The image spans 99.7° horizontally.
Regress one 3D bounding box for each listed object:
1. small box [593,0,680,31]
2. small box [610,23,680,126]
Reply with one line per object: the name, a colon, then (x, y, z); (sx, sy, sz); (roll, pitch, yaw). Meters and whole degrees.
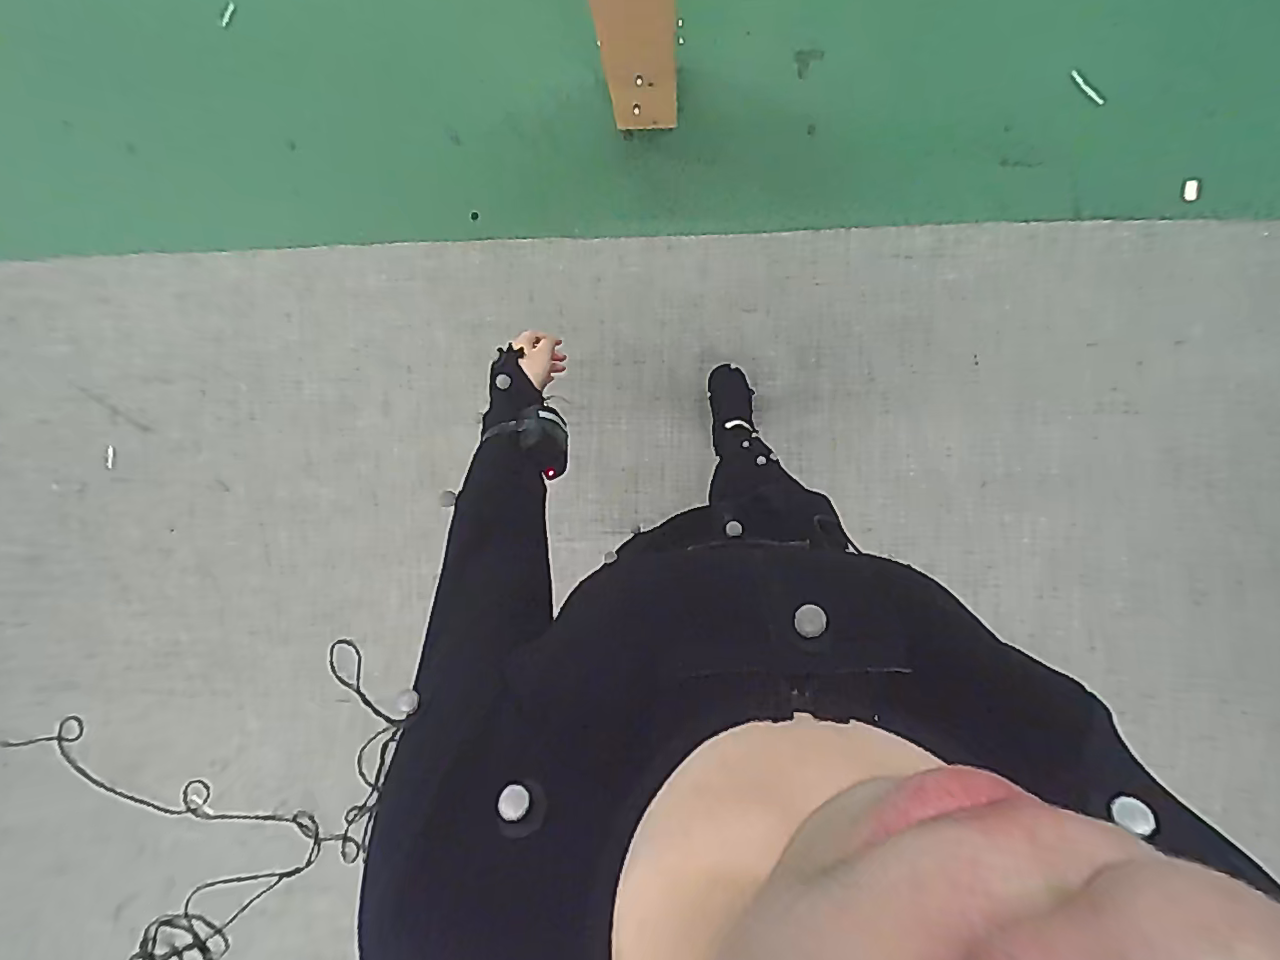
small box: (-0.008, -1.038, 1.073); (0.179, 0.176, 0.168); (4, 92, 5)
small box: (0.018, -1.050, 1.401); (0.168, 0.176, 0.179); (2, 91, 5)
